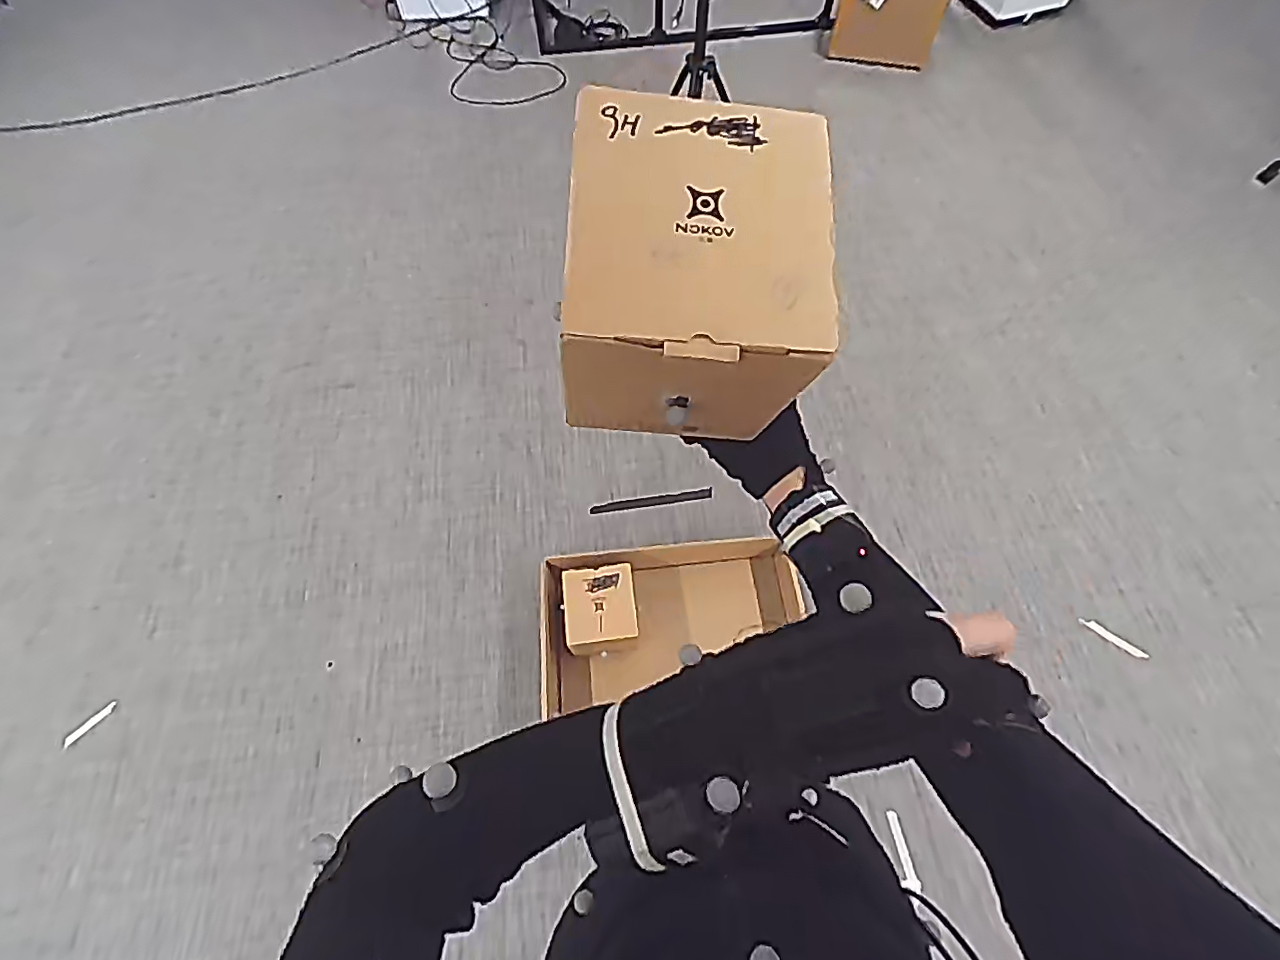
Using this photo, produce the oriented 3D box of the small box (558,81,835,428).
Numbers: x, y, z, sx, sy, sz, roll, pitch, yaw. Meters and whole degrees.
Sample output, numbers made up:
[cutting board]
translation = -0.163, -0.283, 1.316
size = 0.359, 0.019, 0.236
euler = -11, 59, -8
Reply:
[small box]
translation = 0.032, -0.146, 0.407
size = 0.168, 0.176, 0.179
euler = 3, 78, -5
